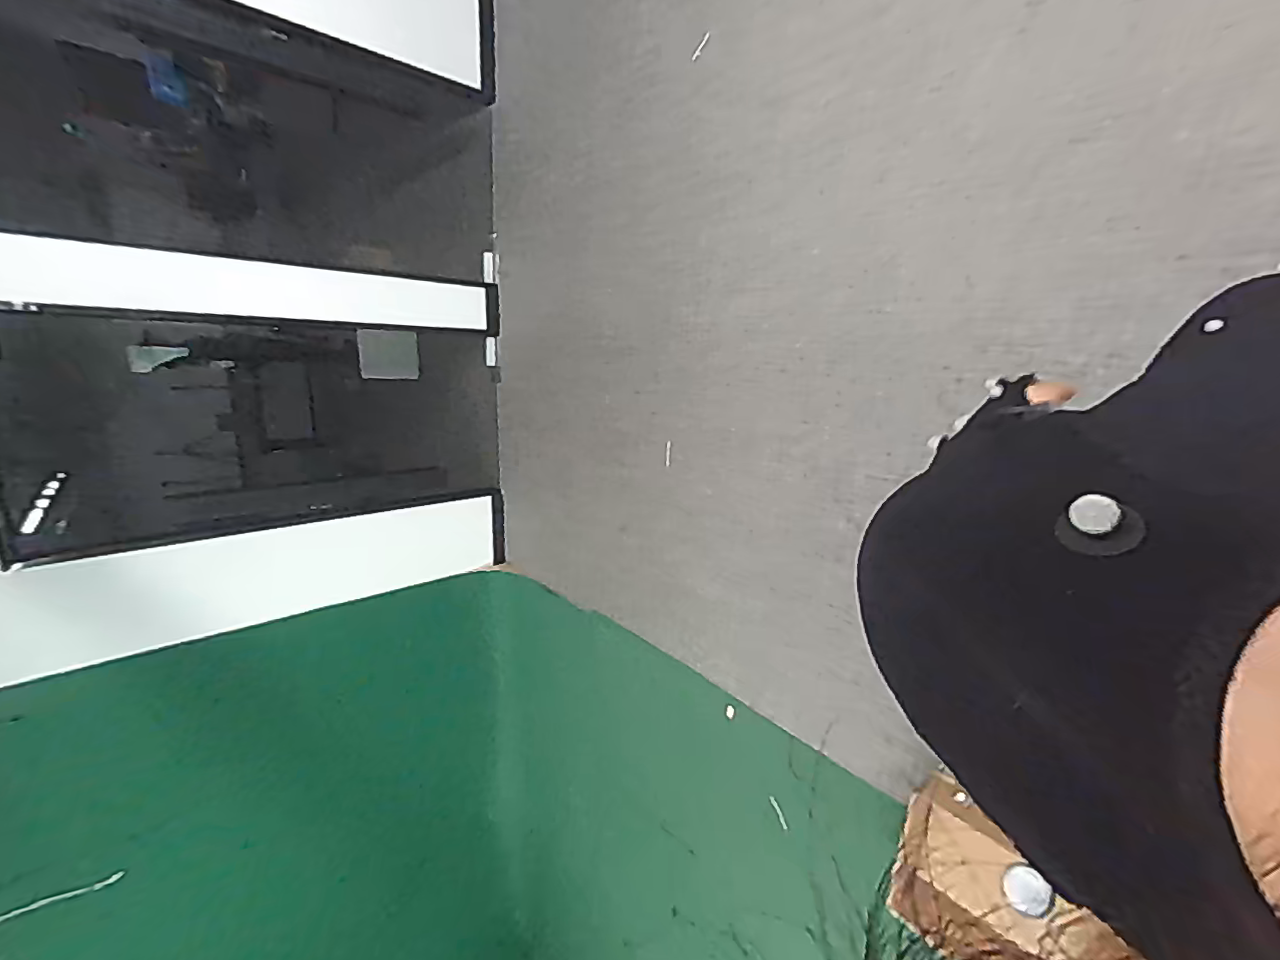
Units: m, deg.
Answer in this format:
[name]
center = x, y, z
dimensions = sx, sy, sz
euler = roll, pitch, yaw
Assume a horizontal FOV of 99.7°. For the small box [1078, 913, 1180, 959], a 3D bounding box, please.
[small box]
center = 1.037, 1.078, 1.134
dimensions = 0.179, 0.176, 0.168
euler = 20, 111, 44
